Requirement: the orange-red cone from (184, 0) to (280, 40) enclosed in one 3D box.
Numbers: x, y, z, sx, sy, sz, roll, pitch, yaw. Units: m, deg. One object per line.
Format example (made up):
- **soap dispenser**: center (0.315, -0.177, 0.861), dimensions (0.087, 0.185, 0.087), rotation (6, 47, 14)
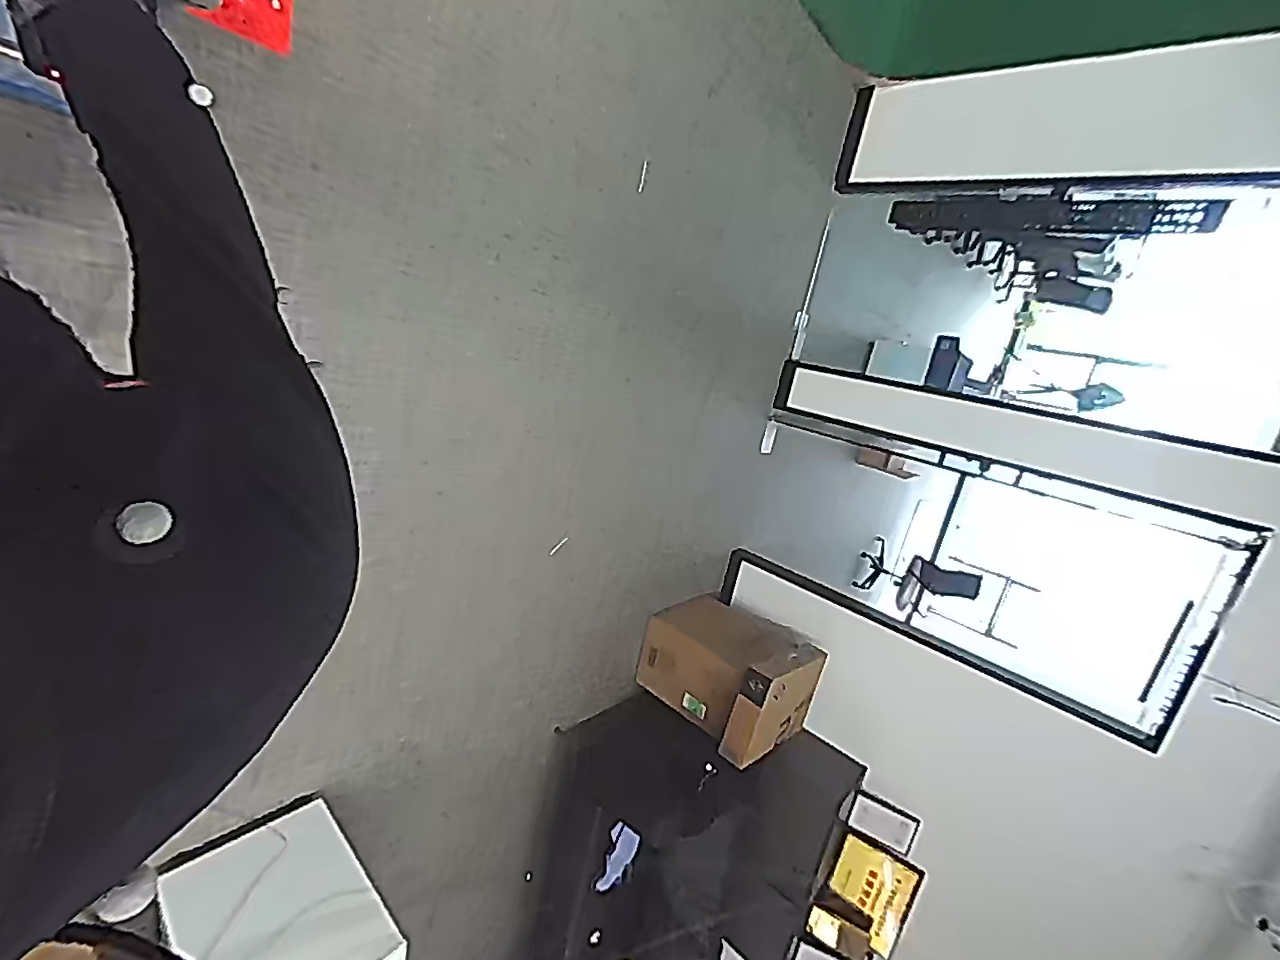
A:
- **orange-red cone**: center (-0.660, -0.924, 0.906), dimensions (0.199, 0.360, 0.198), rotation (-2, 110, -49)
